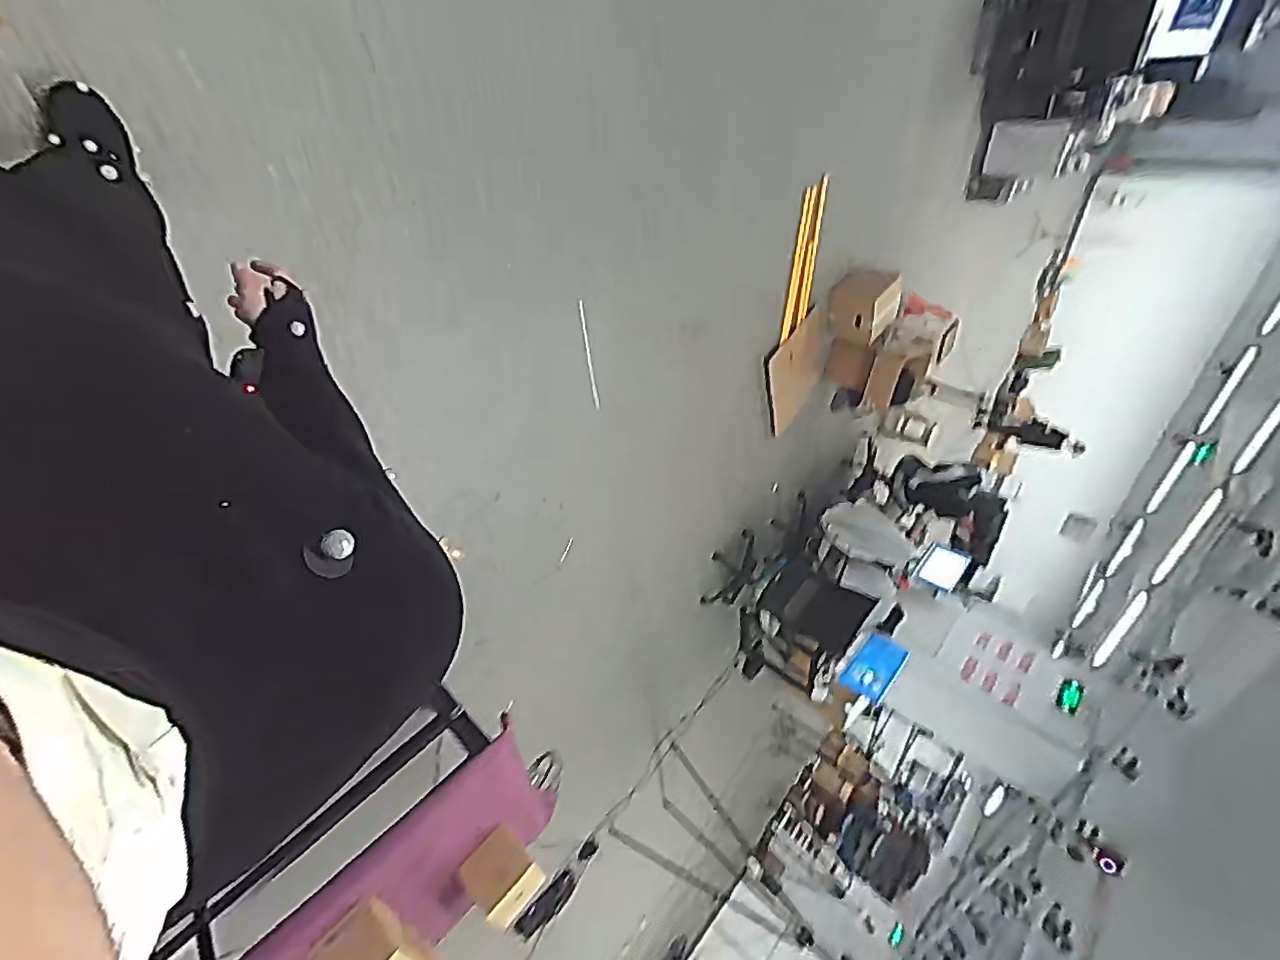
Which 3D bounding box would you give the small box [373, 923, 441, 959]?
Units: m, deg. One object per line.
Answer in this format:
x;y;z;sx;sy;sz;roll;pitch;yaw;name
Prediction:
-0.645;1.381;1.482;0.179;0.176;0.168;-38;138;-31;small box

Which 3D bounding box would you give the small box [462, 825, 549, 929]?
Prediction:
-0.411;1.209;1.656;0.179;0.176;0.168;-38;137;-29;small box
